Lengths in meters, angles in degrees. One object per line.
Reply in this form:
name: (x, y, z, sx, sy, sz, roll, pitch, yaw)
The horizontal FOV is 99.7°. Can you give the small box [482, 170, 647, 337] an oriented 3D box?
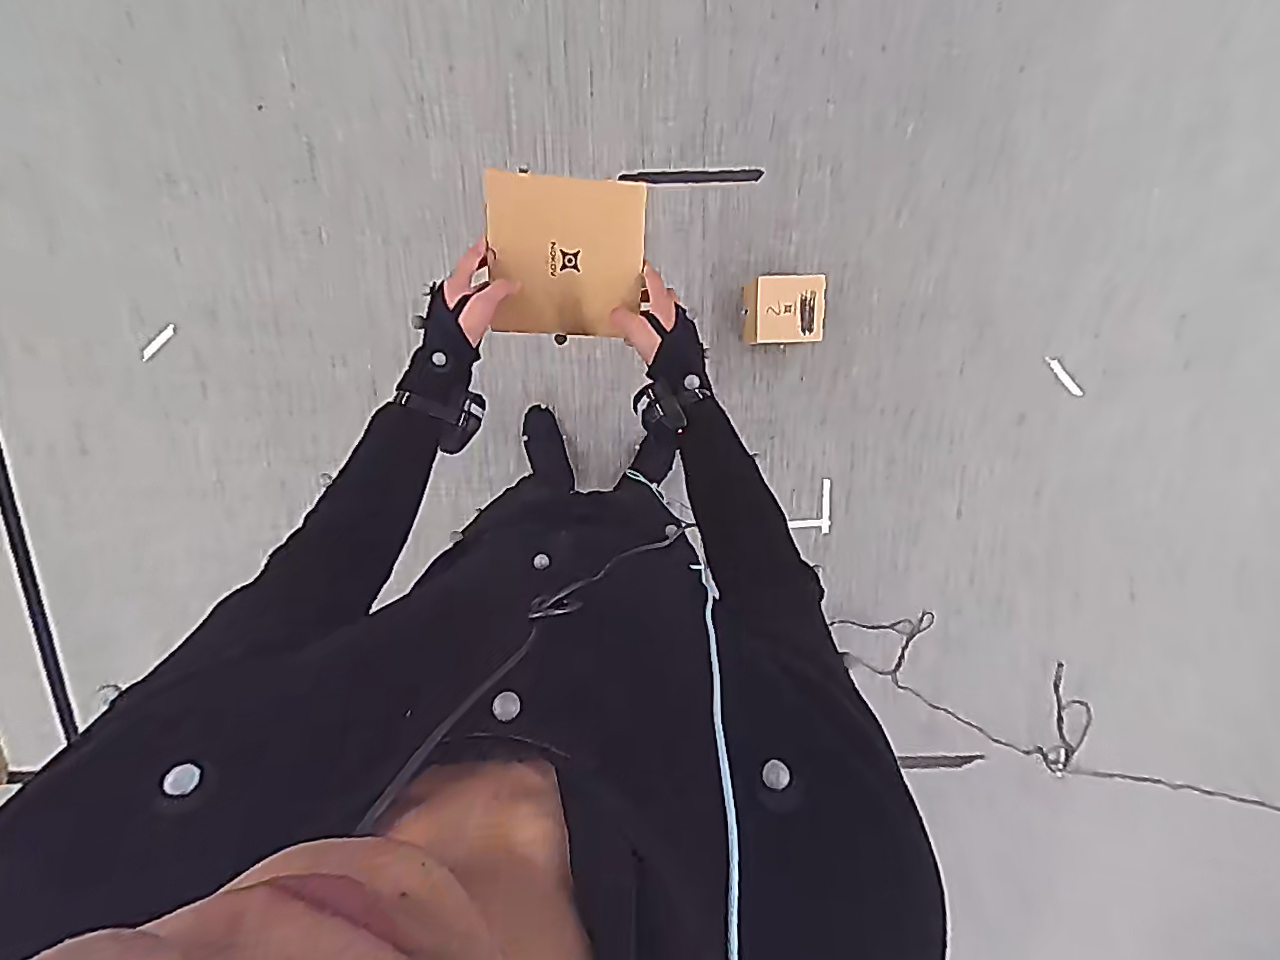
small box: (-0.089, -0.280, 0.674, 0.179, 0.176, 0.168, 1, 114, -4)
